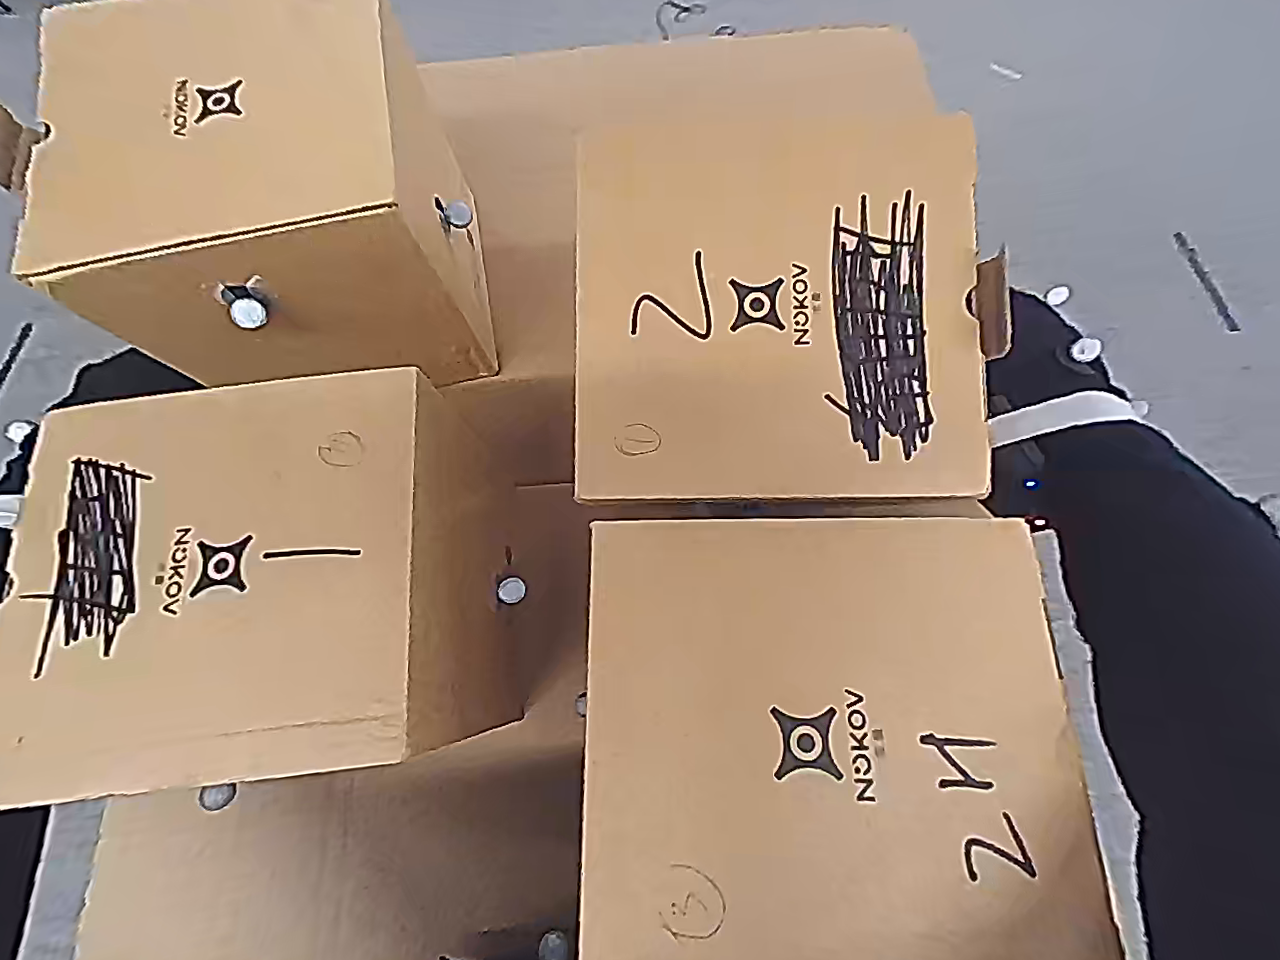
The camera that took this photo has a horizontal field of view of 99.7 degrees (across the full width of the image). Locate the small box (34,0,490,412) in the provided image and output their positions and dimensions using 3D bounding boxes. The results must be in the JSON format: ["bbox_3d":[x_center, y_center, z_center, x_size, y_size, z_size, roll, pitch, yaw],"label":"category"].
[{"bbox_3d":[-0.207,-0.161,0.350,0.179,0.176,0.168,-11,74,0],"label":"small box"}]
